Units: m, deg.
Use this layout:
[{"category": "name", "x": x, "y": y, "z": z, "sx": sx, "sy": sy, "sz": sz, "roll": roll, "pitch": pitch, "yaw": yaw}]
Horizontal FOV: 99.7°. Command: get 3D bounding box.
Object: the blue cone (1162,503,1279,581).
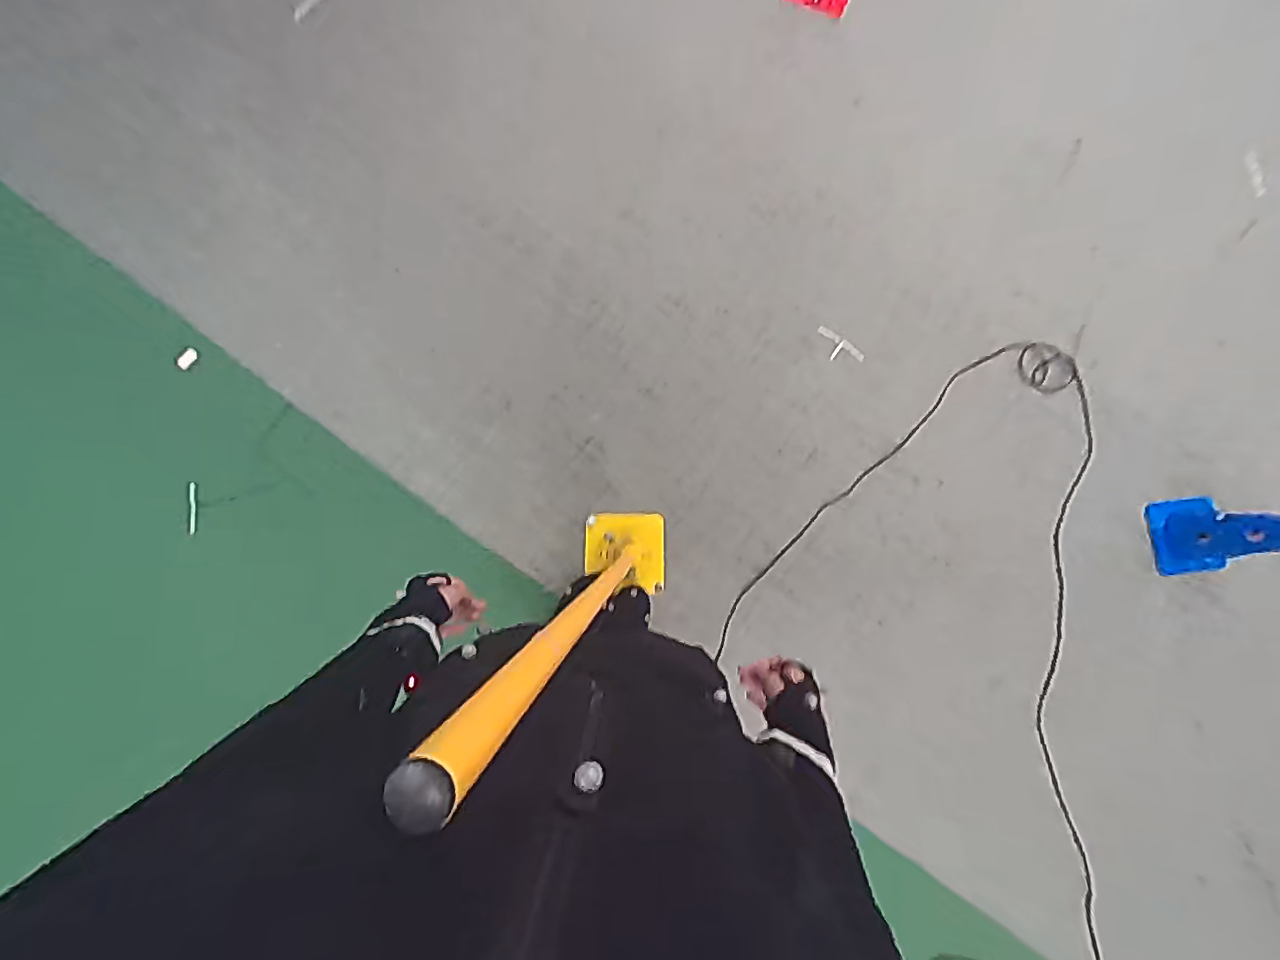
[{"category": "blue cone", "x": 1.504, "y": 0.141, "z": 1.279, "sx": 0.193, "sy": 0.380, "sz": 0.192, "roll": -7, "pitch": 83, "yaw": -6}]
